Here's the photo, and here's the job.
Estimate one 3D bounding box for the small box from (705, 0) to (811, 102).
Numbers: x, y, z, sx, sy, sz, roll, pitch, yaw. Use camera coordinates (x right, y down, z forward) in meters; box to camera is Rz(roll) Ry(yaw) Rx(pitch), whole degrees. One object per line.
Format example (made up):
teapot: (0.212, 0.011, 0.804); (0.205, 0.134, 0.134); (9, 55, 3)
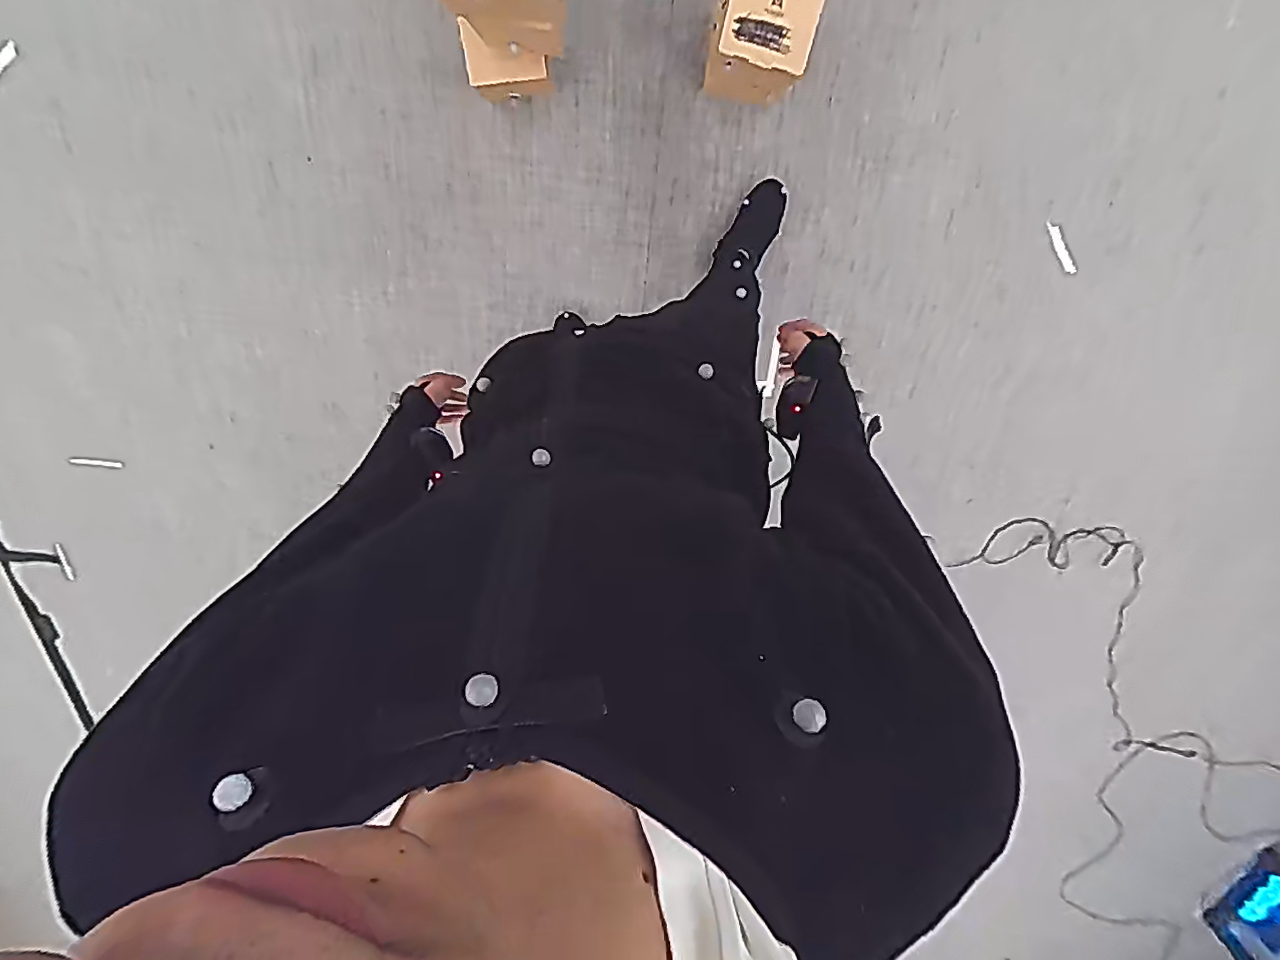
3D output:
small box: (0.242, -0.932, 1.157); (0.179, 0.176, 0.168); (6, 115, -4)

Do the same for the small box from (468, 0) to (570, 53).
small box: (-0.220, -0.919, 0.980); (0.168, 0.176, 0.179); (9, 115, -3)

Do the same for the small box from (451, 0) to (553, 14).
small box: (-0.236, -0.851, 0.831); (0.179, 0.176, 0.168); (3, 115, 0)

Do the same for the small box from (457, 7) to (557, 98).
small box: (-0.278, -0.941, 1.150); (0.168, 0.176, 0.179); (-4, 116, 3)
